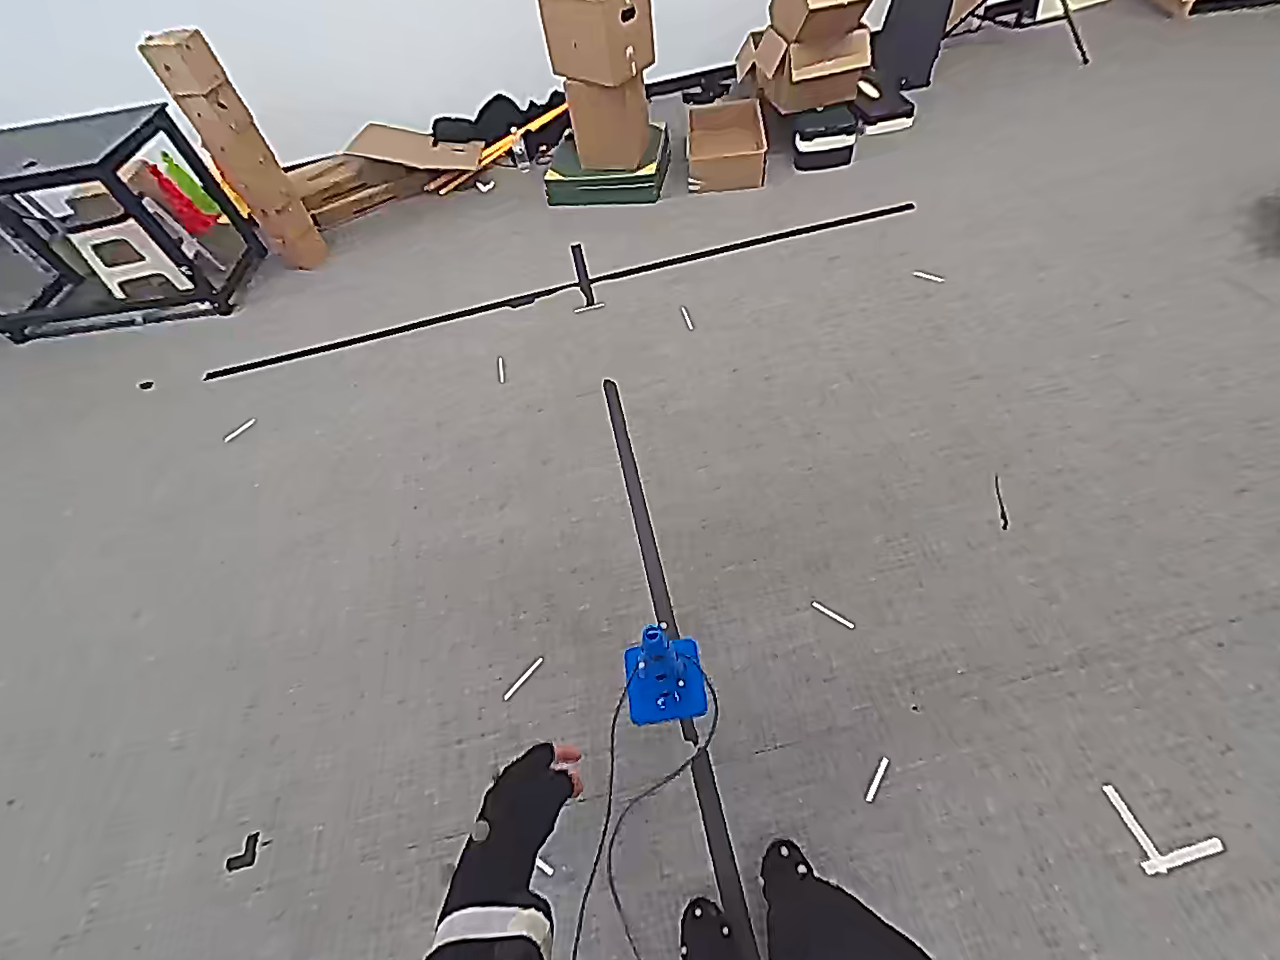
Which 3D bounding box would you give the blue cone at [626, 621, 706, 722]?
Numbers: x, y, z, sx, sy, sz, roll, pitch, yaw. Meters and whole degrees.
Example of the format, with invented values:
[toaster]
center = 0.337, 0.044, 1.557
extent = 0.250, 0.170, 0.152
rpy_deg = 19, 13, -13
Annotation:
[blue cone]
center = 0.046, 0.424, 1.264
extent = 0.193, 0.380, 0.192
rpy_deg = -12, 54, 1
